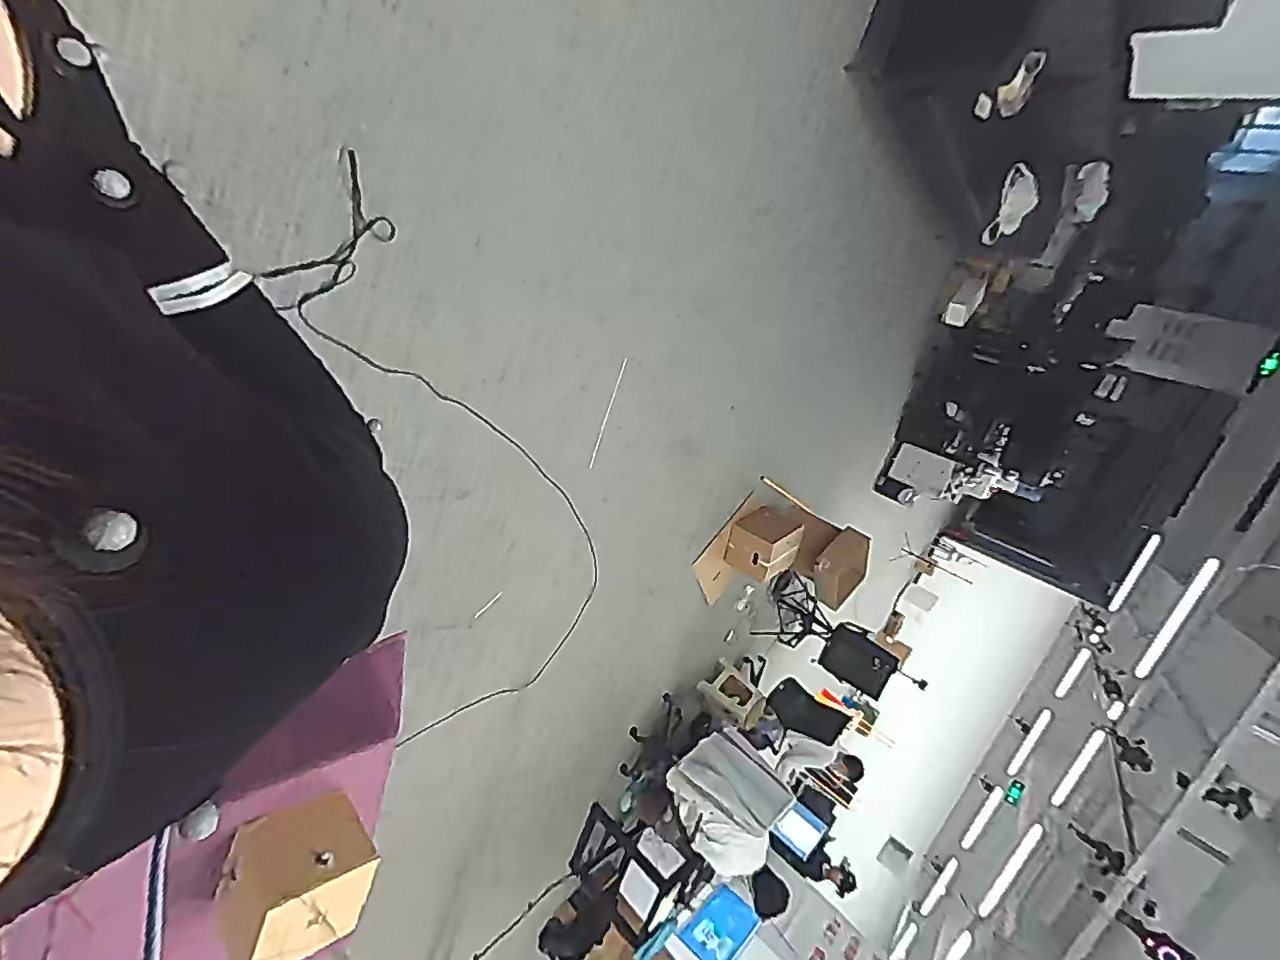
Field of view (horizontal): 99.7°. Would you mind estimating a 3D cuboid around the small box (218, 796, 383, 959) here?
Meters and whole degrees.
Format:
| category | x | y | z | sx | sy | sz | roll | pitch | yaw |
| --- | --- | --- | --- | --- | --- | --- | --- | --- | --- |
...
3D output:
| category | x | y | z | sx | sy | sz | roll | pitch | yaw |
| --- | --- | --- | --- | --- | --- | --- | --- | --- | --- |
| small box | -0.584 | 0.690 | 0.929 | 0.179 | 0.176 | 0.168 | 9 | 106 | -53 |
